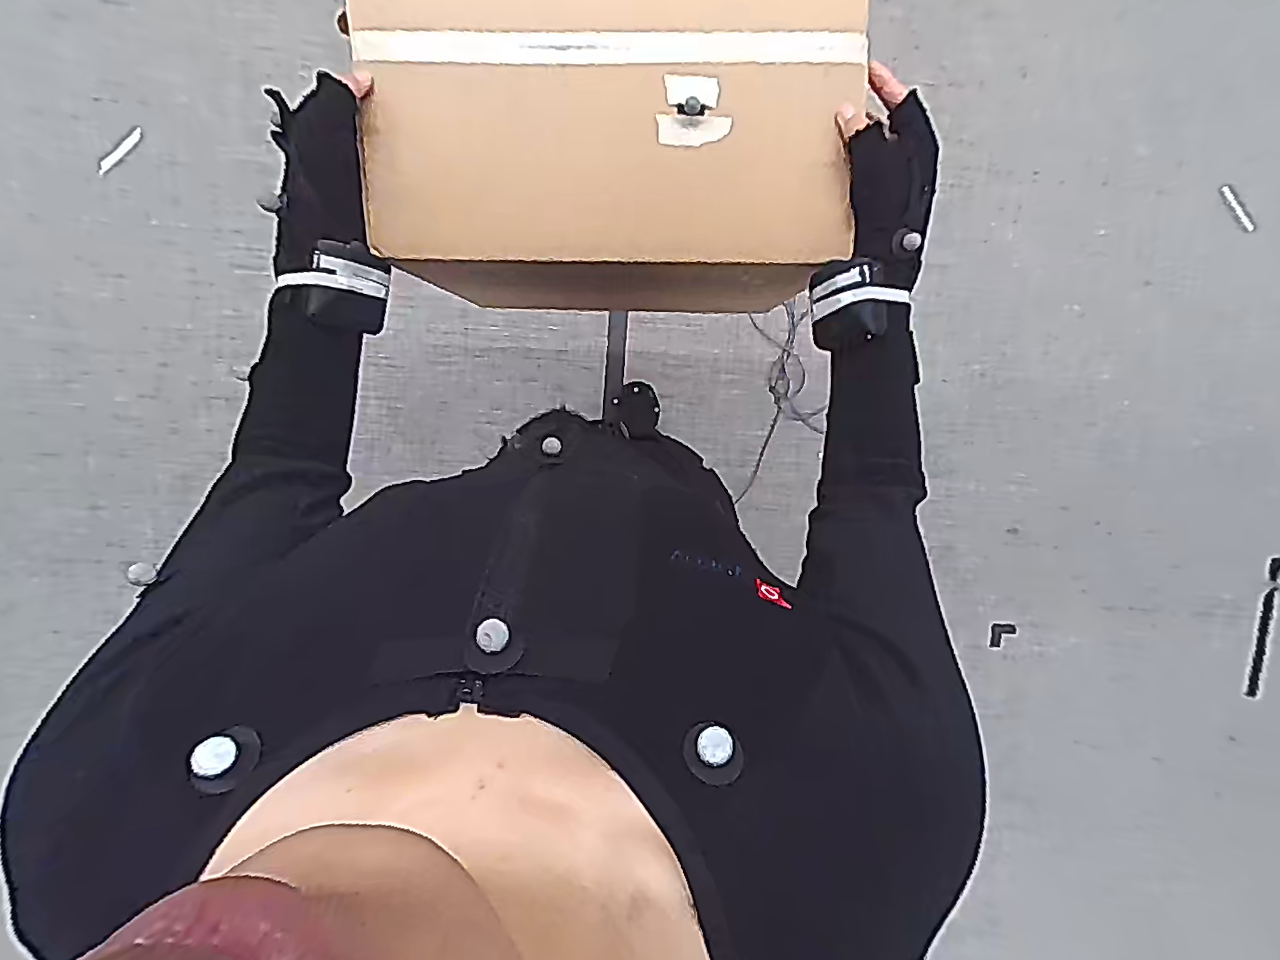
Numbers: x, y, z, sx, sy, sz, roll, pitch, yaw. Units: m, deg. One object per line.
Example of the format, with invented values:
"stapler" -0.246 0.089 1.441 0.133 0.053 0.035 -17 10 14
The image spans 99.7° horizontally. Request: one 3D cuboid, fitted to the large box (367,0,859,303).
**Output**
"large box" -0.023 -0.377 0.587 0.408 0.320 0.320 0 101 0
